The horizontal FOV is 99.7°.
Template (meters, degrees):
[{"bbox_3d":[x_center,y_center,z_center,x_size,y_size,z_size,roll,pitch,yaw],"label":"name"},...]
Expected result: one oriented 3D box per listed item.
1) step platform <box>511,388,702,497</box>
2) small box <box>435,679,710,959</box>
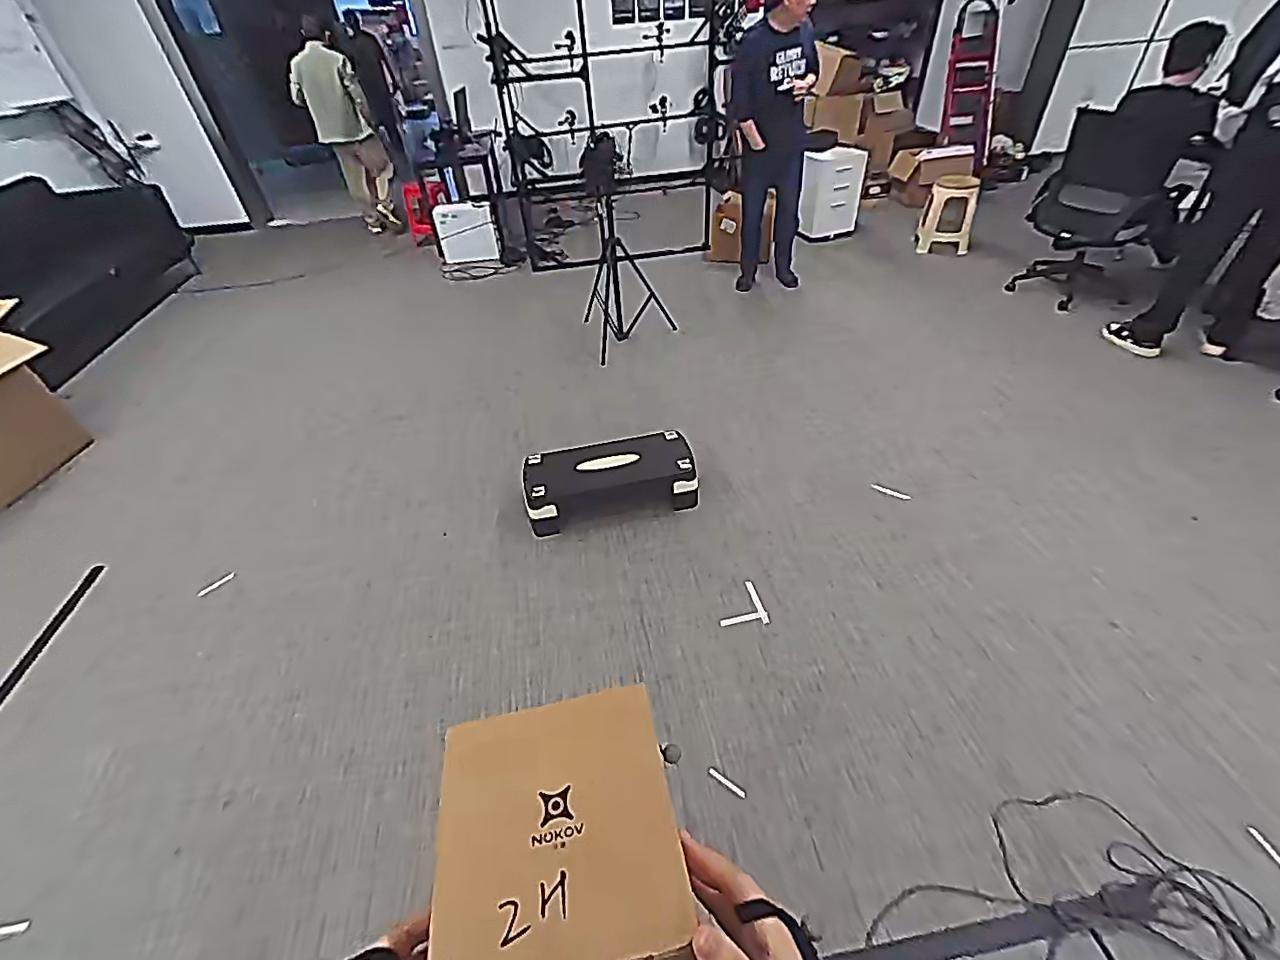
[{"bbox_3d":[-0.119,-0.142,2.015,0.684,0.204,0.286,-10,41,-7],"label":"step platform"},{"bbox_3d":[-0.048,0.294,0.428,0.168,0.176,0.179,-11,40,-5],"label":"small box"}]
